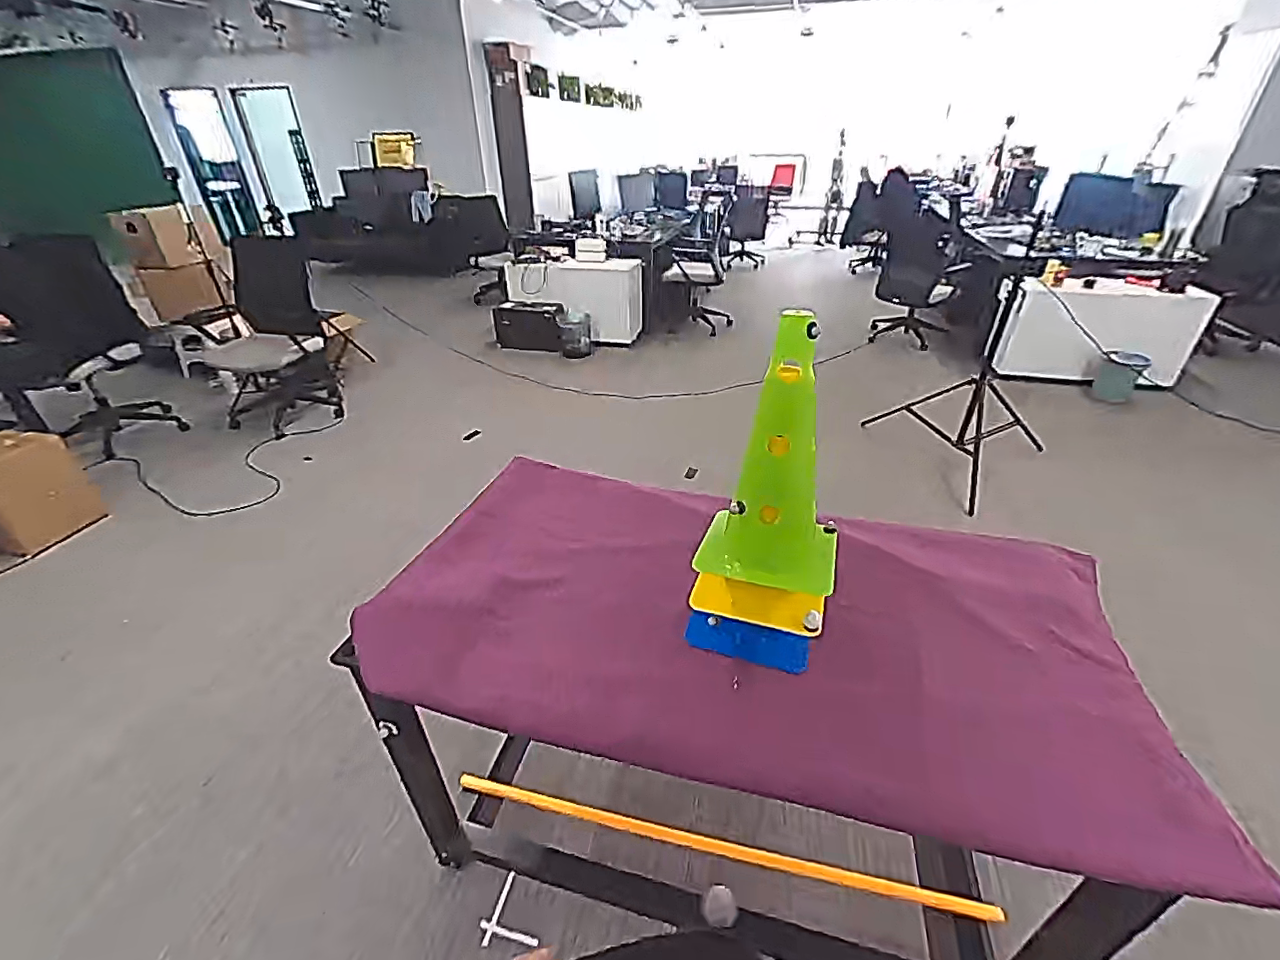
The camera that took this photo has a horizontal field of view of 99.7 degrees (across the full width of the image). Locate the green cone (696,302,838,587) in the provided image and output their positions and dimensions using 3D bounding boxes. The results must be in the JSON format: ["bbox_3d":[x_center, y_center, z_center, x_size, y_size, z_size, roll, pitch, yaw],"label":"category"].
[{"bbox_3d":[0.200,-0.061,0.767,0.200,0.368,0.202,8,27,18],"label":"green cone"}]
